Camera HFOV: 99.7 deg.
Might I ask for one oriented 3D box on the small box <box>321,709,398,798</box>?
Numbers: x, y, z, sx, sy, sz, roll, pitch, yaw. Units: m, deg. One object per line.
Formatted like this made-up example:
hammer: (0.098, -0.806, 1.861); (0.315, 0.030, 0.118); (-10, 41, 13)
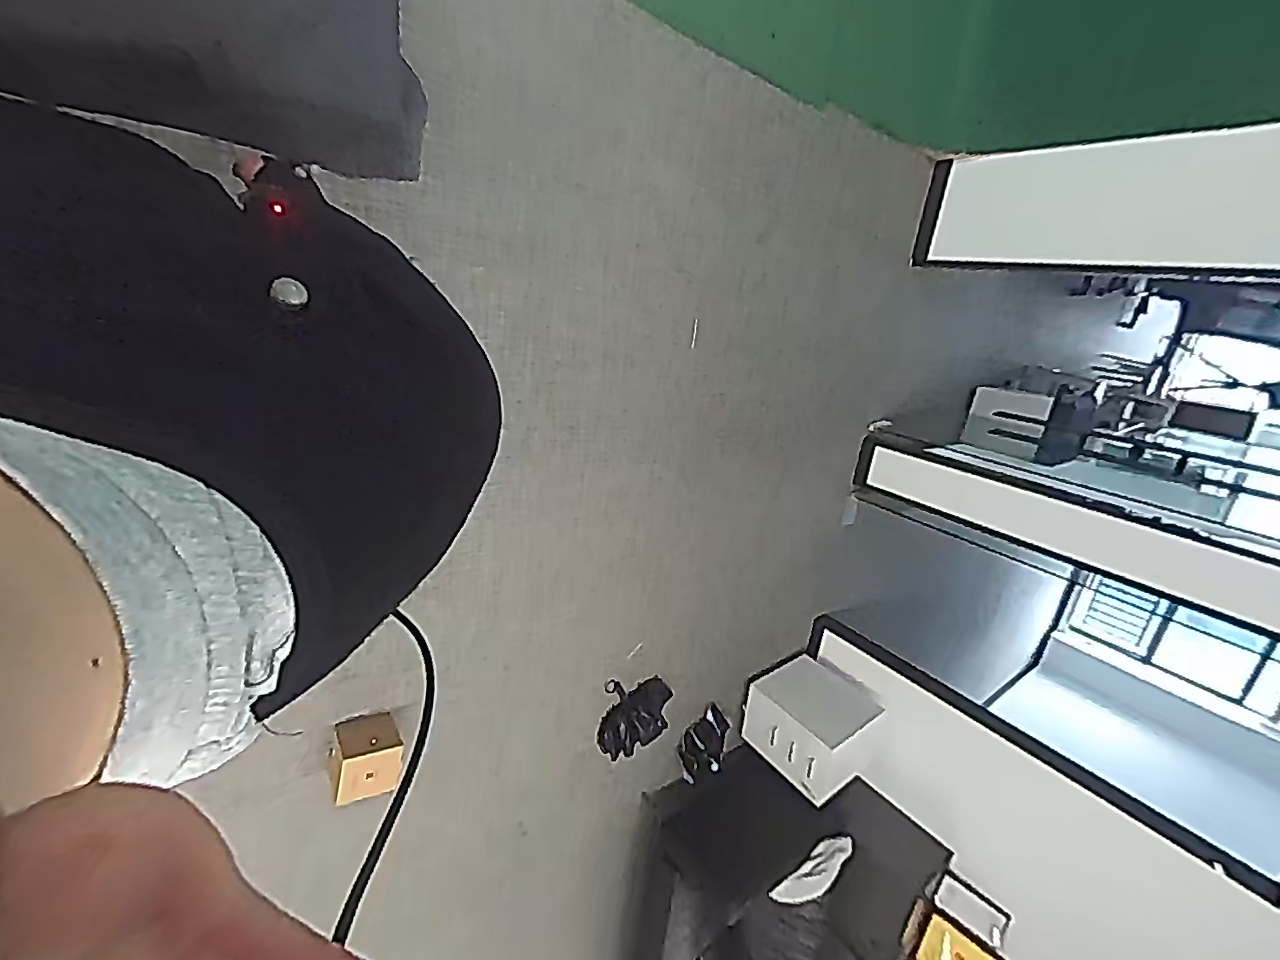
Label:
small box: (-0.888, 0.854, 1.708); (0.179, 0.176, 0.168); (4, 106, -40)
